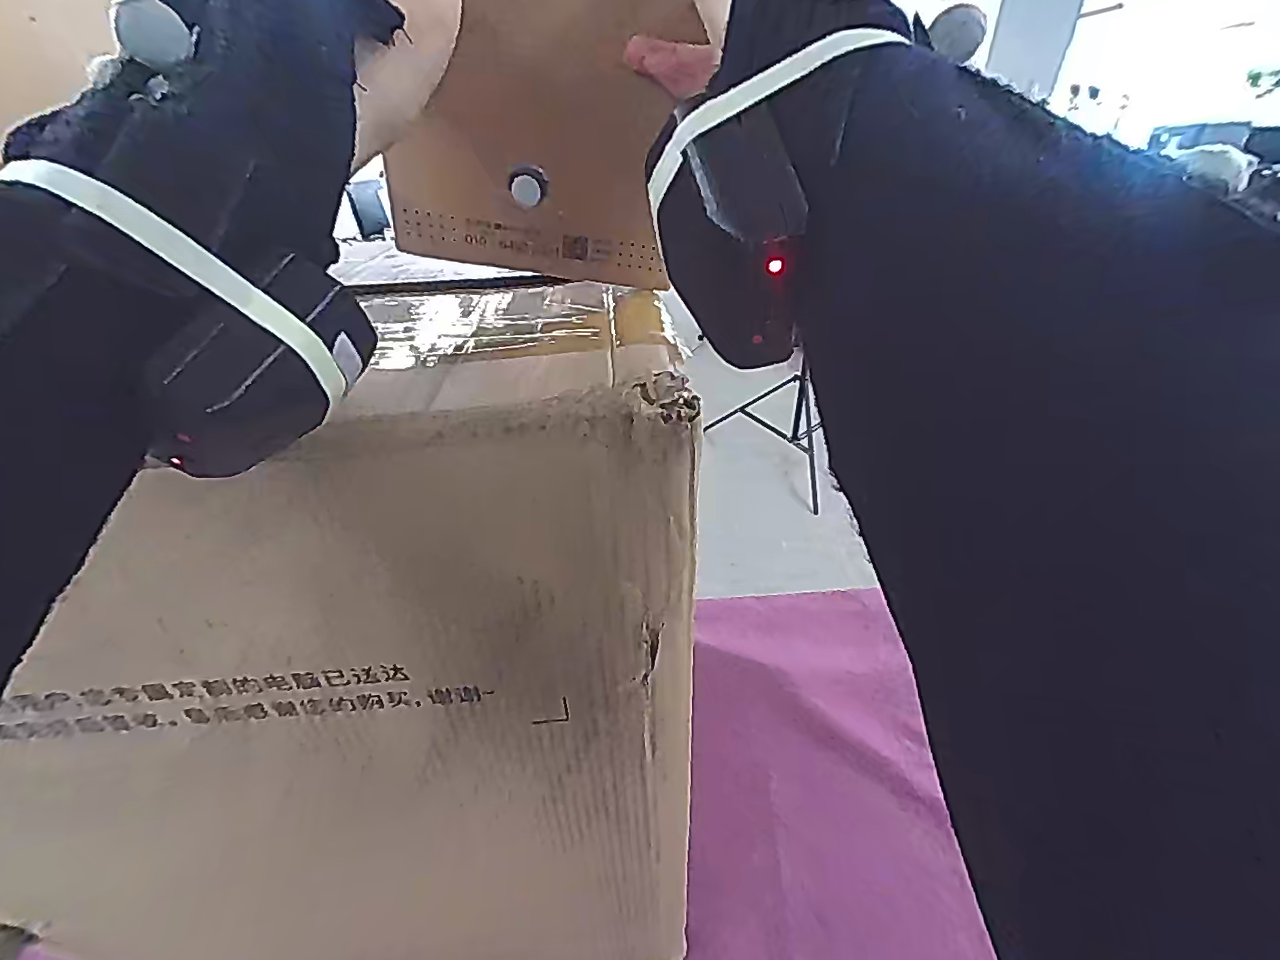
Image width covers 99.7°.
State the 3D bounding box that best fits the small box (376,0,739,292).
[{"bbox_3d":[-0.048,-0.242,0.327,0.168,0.176,0.179,6,48,-7],"label":"small box"}]
